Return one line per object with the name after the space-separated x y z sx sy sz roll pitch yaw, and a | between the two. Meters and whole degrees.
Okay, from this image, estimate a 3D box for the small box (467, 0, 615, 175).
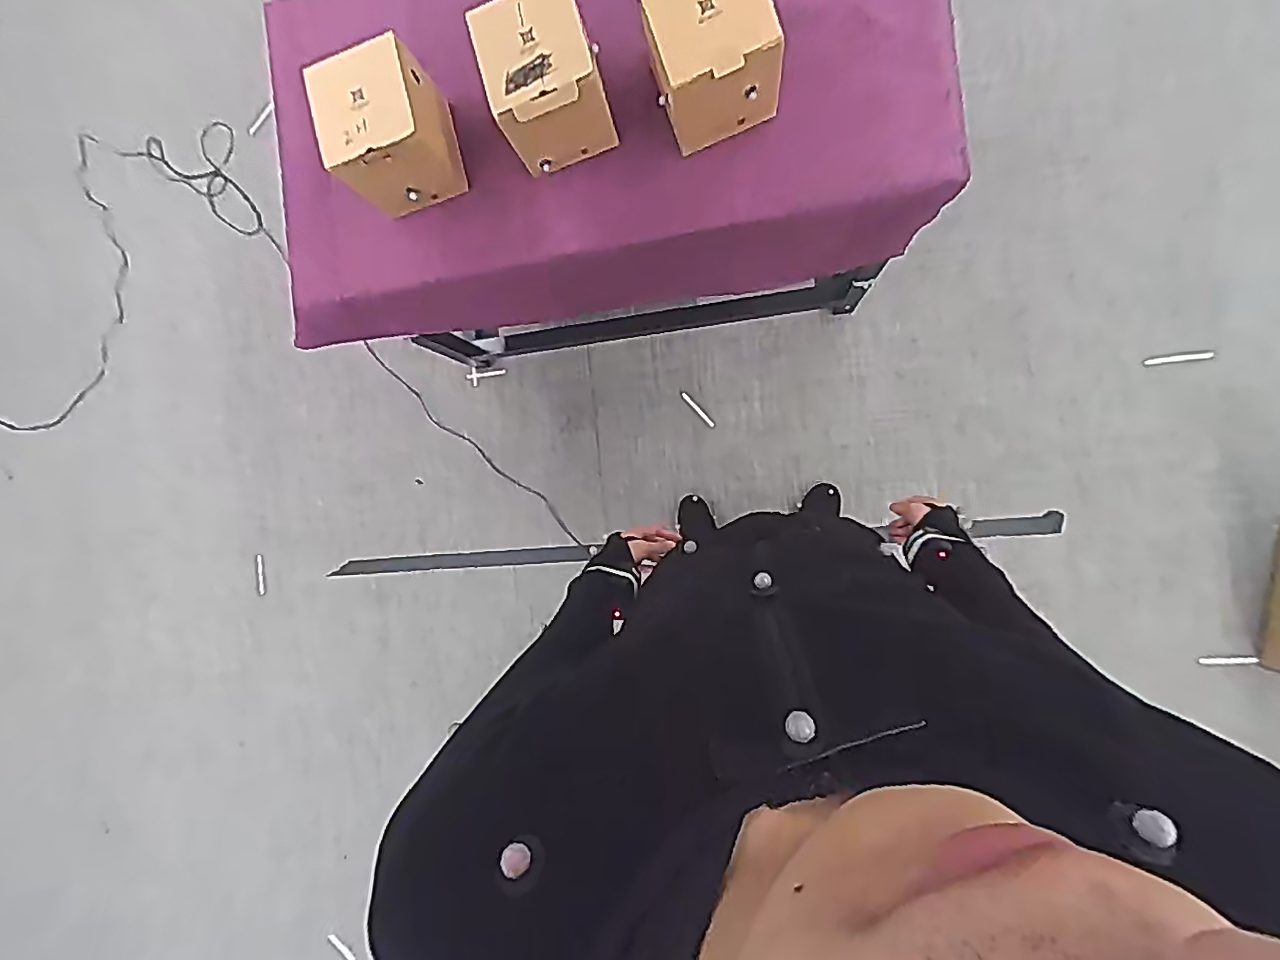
-0.151 -0.637 0.887 0.168 0.176 0.179 -17 86 9 | small box

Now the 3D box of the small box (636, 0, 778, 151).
0.107 -0.654 0.843 0.168 0.176 0.179 -19 86 9 | small box

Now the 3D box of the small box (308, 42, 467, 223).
-0.425 -0.584 0.933 0.168 0.176 0.179 -15 87 10 | small box
